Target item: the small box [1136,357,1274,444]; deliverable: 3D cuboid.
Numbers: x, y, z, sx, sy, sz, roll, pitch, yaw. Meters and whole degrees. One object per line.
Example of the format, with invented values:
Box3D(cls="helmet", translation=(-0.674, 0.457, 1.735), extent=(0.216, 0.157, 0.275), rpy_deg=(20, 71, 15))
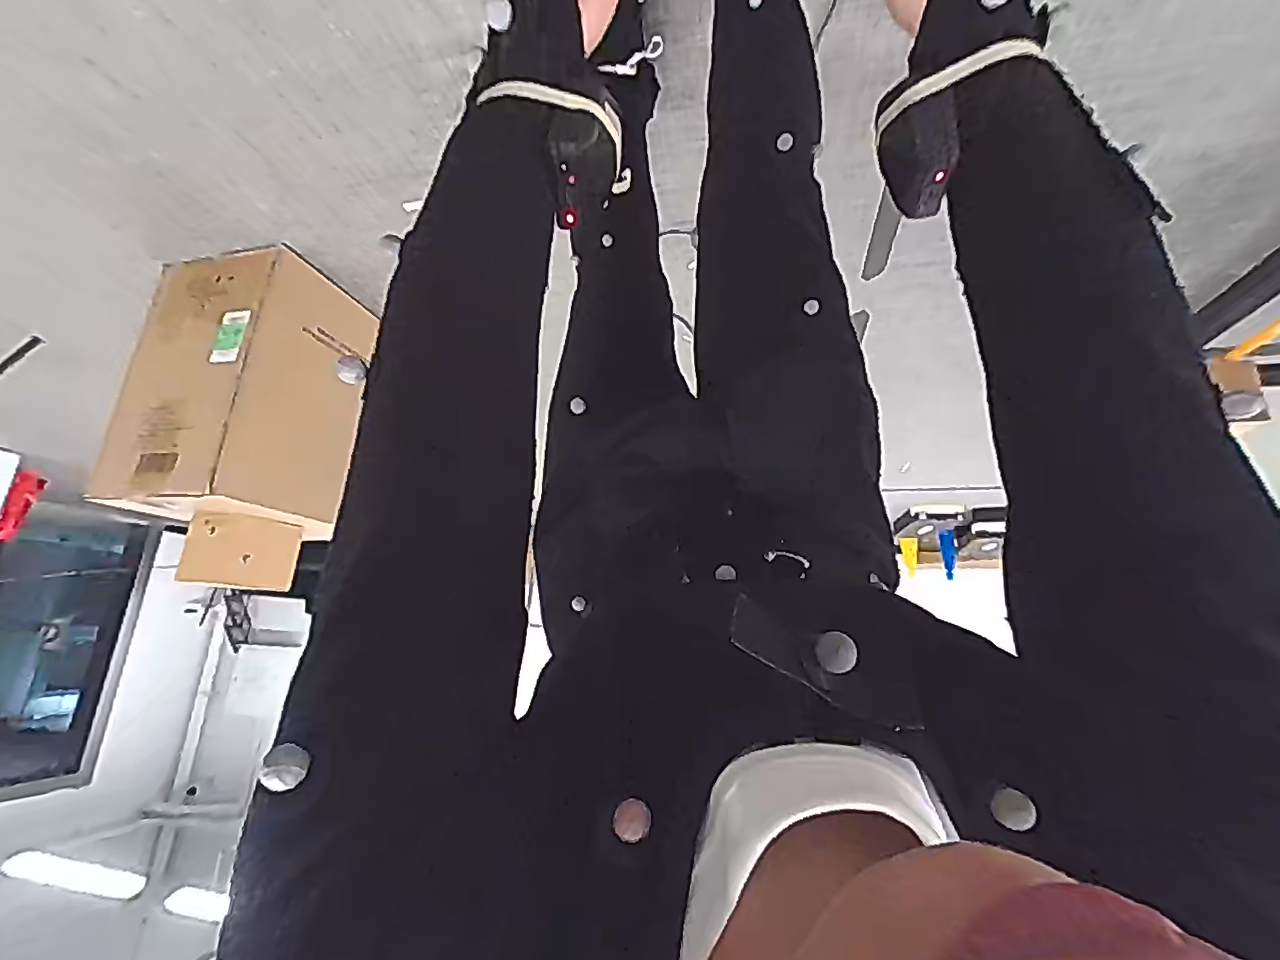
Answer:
Box3D(cls="small box", translation=(1.444, -0.203, 1.399), extent=(0.179, 0.176, 0.168), rpy_deg=(-1, 163, 13))
